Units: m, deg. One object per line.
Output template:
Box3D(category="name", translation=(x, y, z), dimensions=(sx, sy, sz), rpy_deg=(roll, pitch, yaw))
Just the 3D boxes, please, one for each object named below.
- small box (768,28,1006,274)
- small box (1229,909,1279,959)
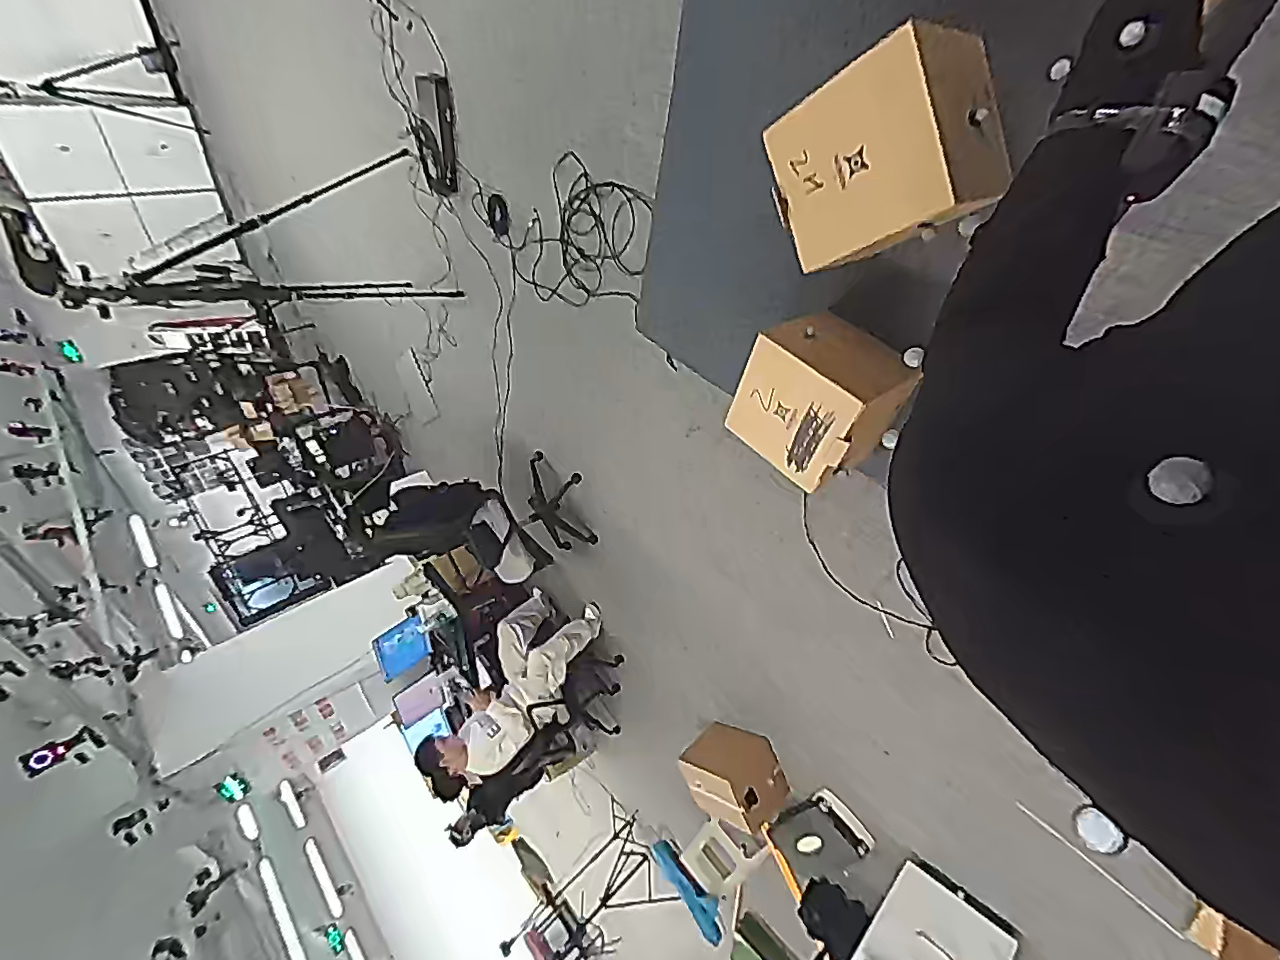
Box3D(category="small box", translation=(0.282, -0.356, 0.607), dimensions=(0.179, 0.176, 0.168), rpy_deg=(-7, 106, 54))
Box3D(category="small box", translation=(1.253, 0.944, 1.001), dimensions=(0.168, 0.176, 0.179), rpy_deg=(53, 142, 13))
